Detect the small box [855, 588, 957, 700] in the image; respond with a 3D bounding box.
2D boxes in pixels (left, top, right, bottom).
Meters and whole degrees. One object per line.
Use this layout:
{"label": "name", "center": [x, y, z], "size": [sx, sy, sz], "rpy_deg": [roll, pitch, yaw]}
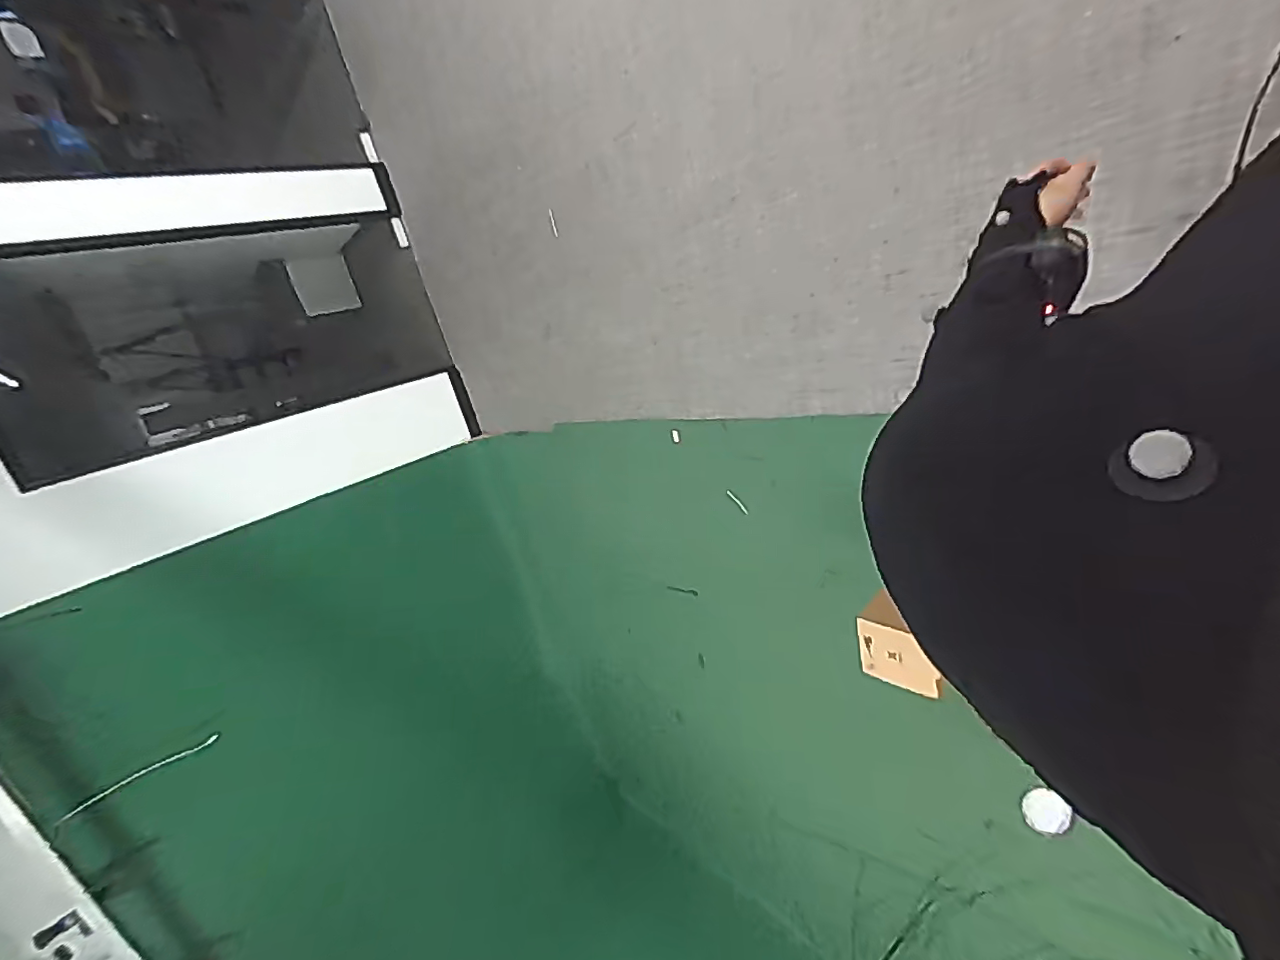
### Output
{"label": "small box", "center": [0.637, 0.377, 1.284], "size": [0.179, 0.176, 0.168], "rpy_deg": [8, 118, 47]}
